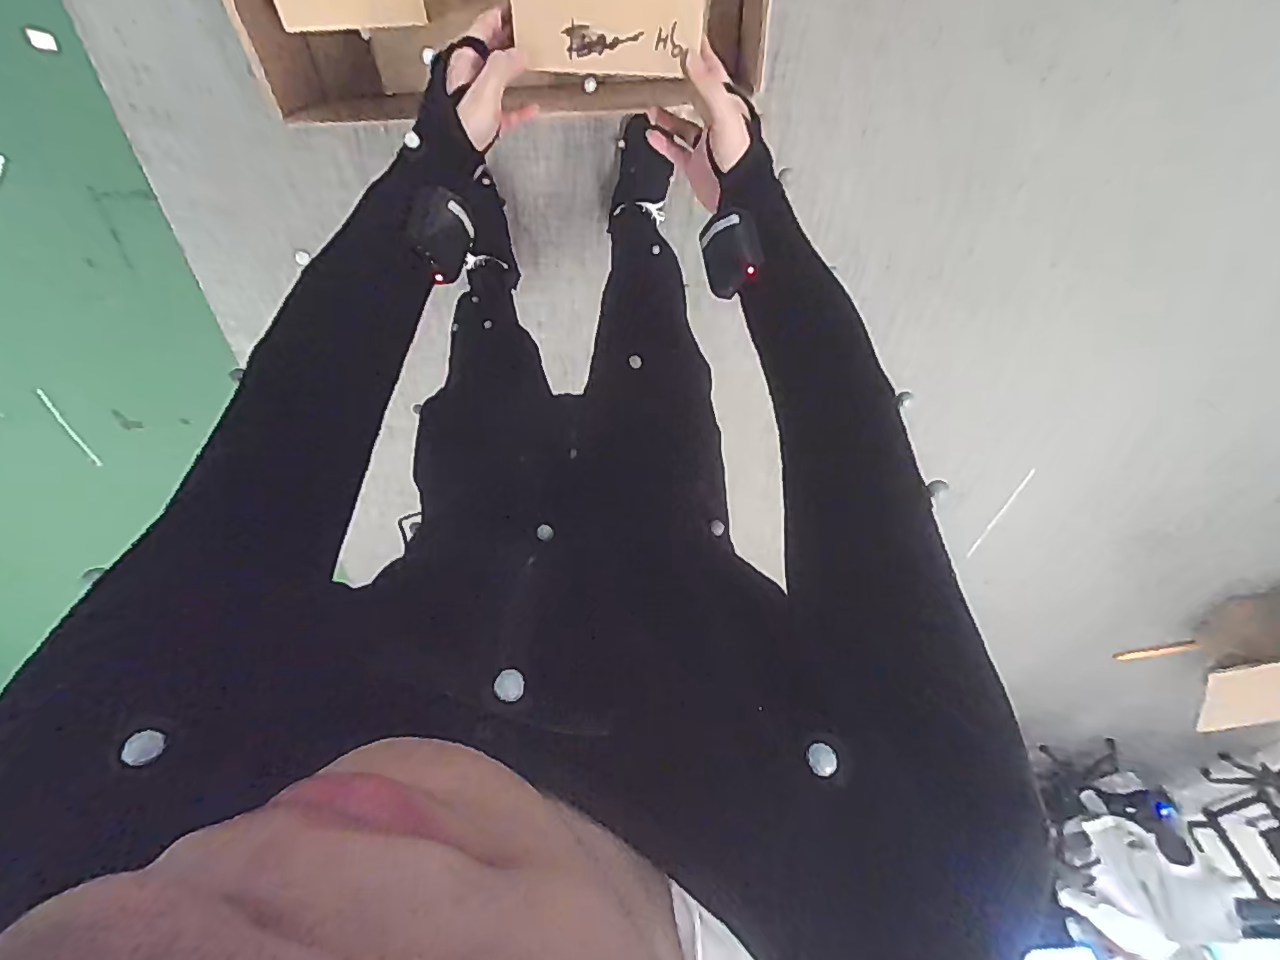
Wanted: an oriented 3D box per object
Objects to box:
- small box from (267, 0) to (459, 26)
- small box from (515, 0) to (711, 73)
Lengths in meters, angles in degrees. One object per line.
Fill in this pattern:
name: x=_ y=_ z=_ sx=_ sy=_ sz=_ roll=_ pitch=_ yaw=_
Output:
small box: x=-0.311 y=-0.610 z=0.580 sx=0.168 sy=0.176 sz=0.179 roll=0 pitch=133 yaw=2
small box: x=-0.022 y=-0.481 z=0.485 sx=0.168 sy=0.176 sz=0.179 roll=2 pitch=128 yaw=-3
